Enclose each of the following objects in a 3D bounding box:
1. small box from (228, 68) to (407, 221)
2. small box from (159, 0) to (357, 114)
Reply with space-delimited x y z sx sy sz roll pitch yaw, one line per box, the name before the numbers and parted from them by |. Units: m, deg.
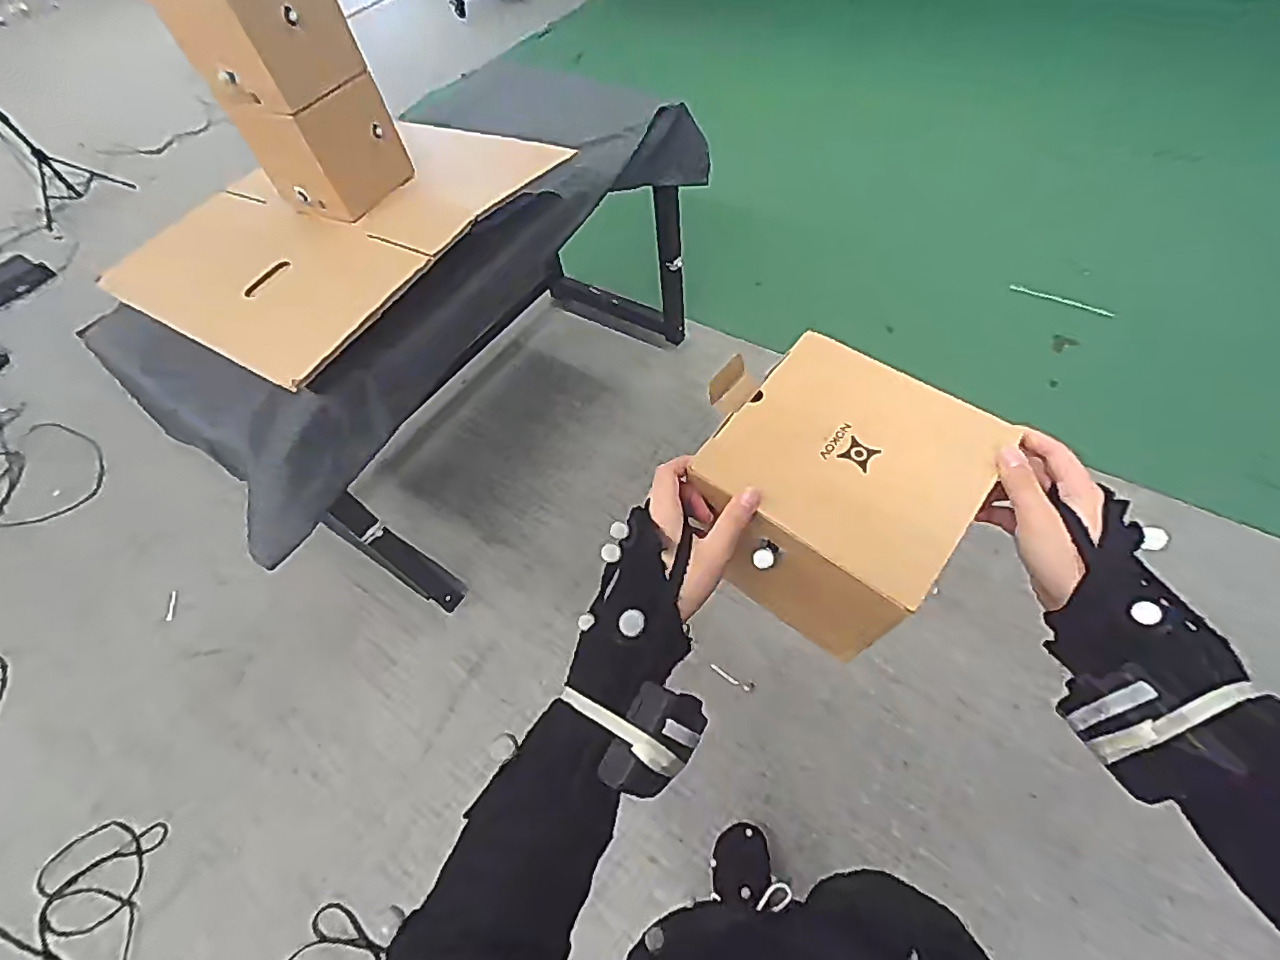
small box | -0.536 -0.581 0.933 0.168 0.176 0.179 17 61 20
small box | -0.559 -0.676 0.800 0.168 0.176 0.179 16 60 20
